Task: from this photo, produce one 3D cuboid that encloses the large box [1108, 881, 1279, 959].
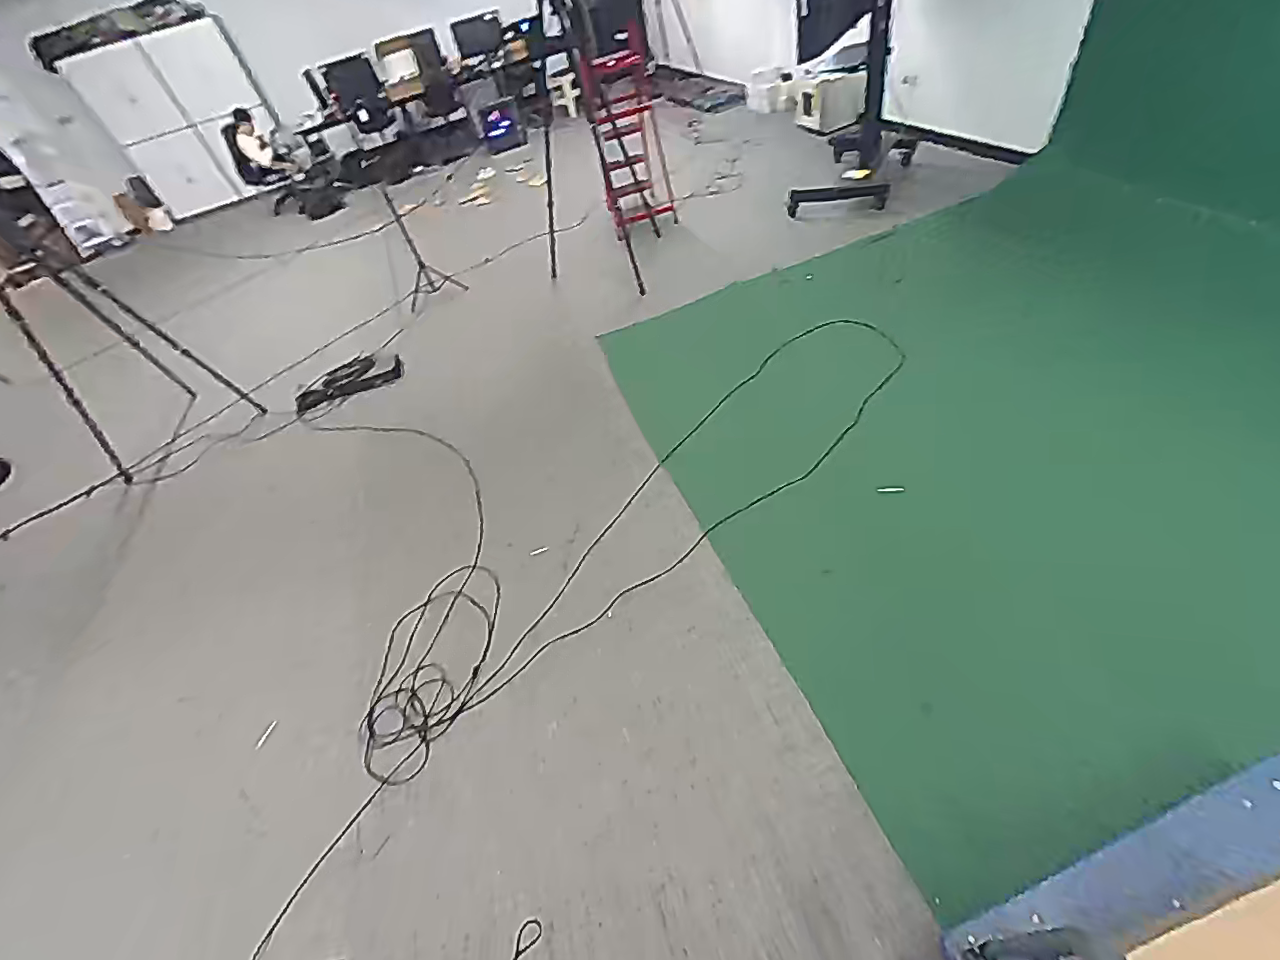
[{"bbox_3d":[0.938,0.821,0.769,0.408,0.320,0.320,-20,45,-5],"label":"large box"}]
